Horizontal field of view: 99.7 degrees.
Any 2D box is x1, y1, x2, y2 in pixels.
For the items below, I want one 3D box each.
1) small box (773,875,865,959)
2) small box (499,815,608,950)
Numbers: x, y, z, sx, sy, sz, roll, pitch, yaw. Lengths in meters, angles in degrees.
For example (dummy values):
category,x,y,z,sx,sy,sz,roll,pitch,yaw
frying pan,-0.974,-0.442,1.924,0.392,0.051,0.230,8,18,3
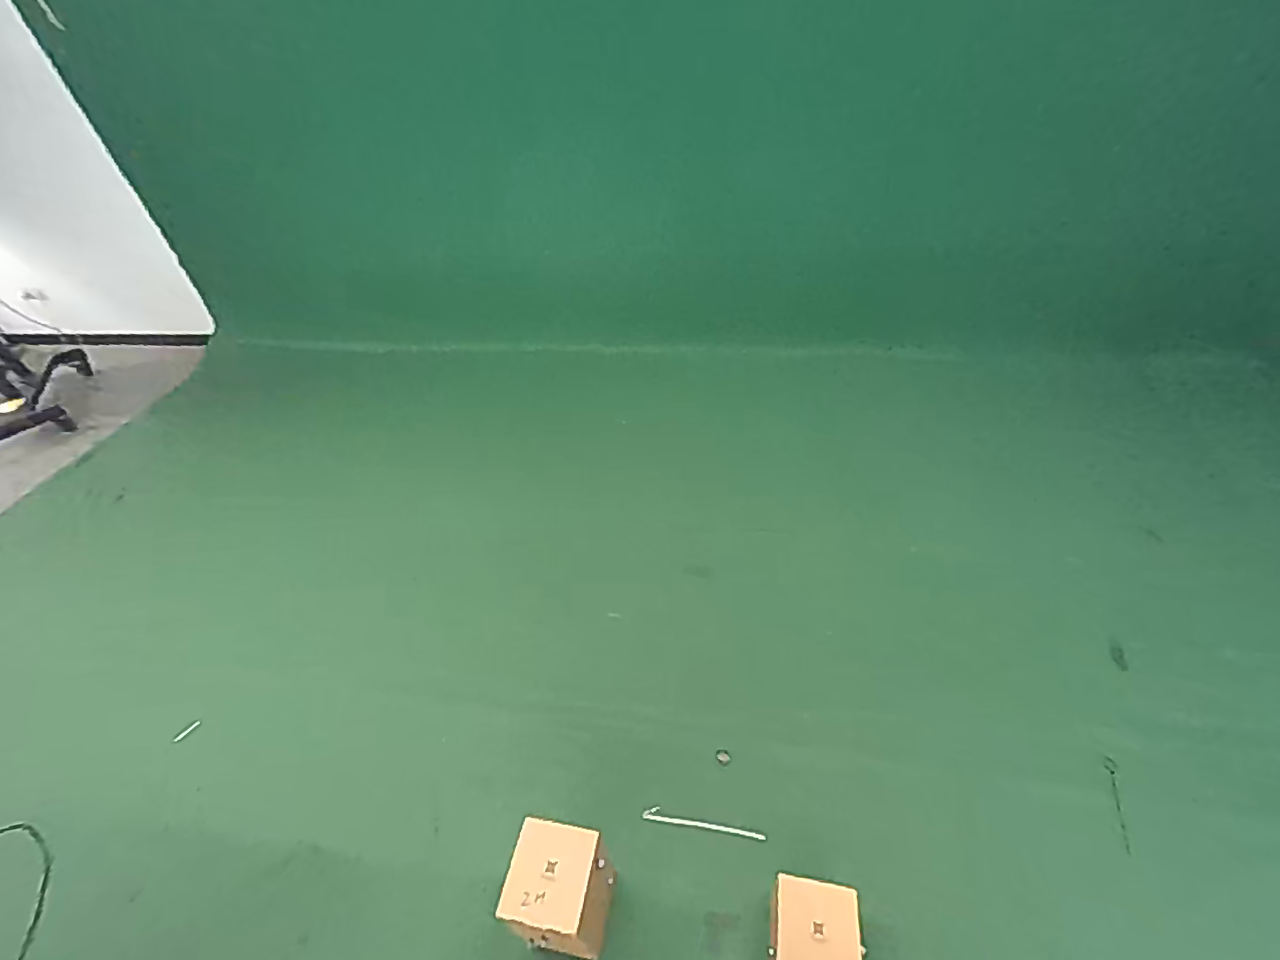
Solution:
category,x,y,z,sx,sy,sz,roll,pitch,yaw
small box,0.377,0.986,1.158,0.168,0.176,0.179,5,44,11
small box,-0.169,0.840,1.130,0.168,0.176,0.179,5,43,12
